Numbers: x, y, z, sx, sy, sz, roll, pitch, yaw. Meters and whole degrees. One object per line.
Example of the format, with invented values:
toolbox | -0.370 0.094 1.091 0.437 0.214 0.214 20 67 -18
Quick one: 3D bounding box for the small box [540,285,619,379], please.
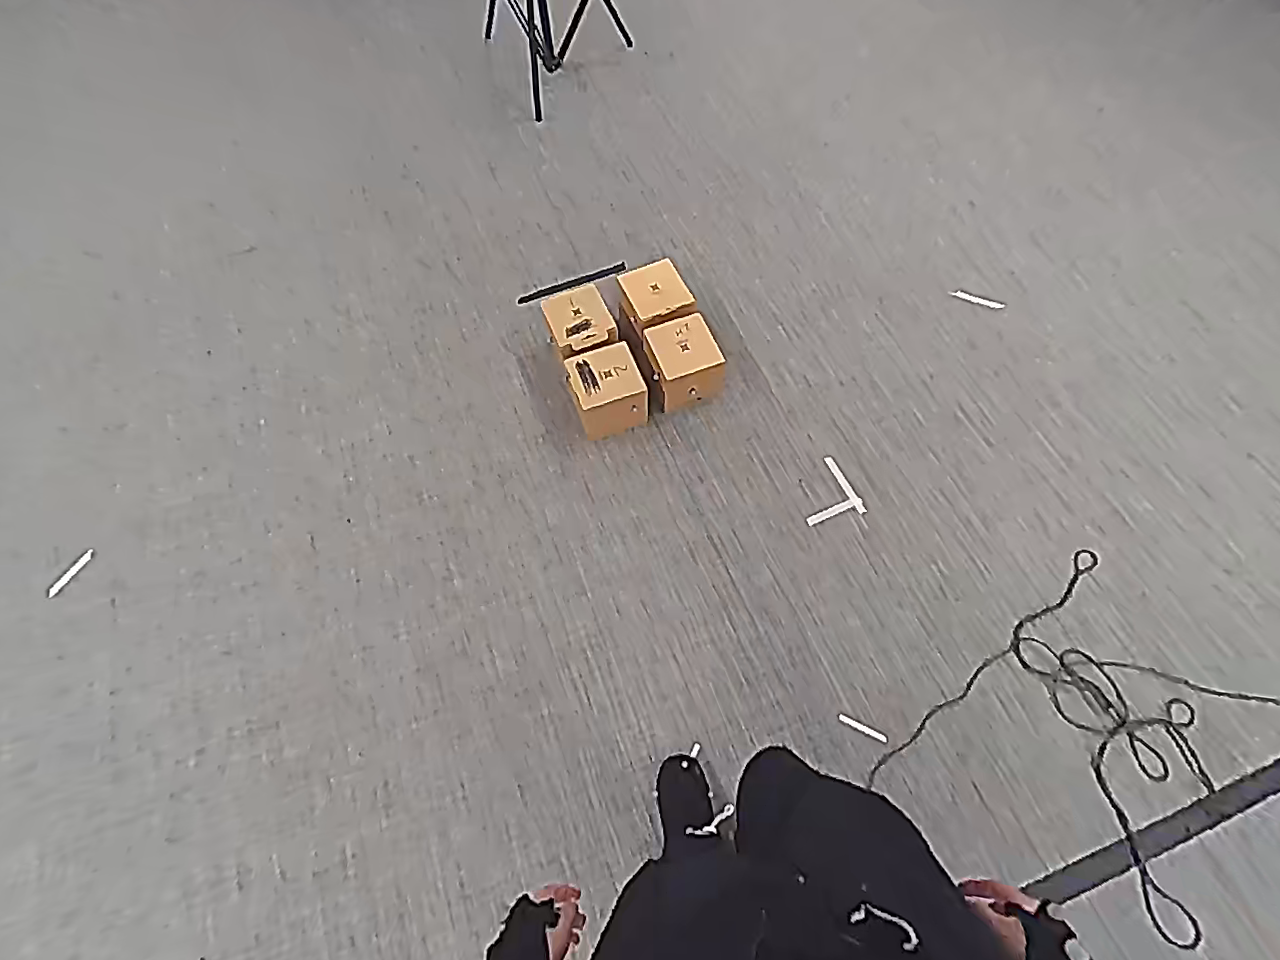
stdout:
small box | -0.165 -0.409 1.531 0.168 0.176 0.179 -21 66 -9
